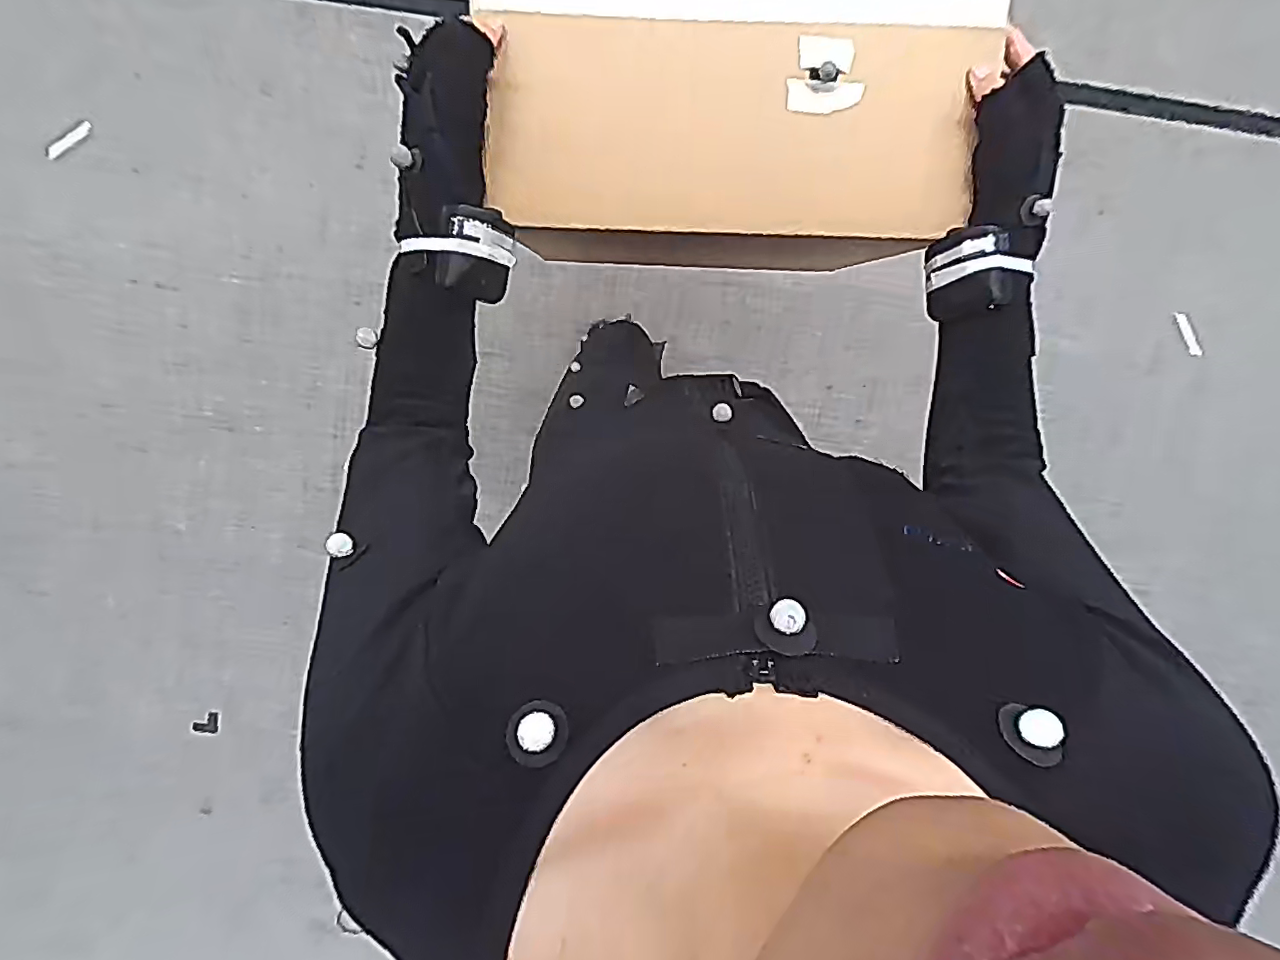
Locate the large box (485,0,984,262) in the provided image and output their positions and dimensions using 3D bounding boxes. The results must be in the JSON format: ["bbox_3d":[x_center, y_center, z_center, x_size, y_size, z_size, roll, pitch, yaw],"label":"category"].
[{"bbox_3d":[0.070,-0.412,0.571,0.408,0.320,0.320,1,107,-2],"label":"large box"}]
